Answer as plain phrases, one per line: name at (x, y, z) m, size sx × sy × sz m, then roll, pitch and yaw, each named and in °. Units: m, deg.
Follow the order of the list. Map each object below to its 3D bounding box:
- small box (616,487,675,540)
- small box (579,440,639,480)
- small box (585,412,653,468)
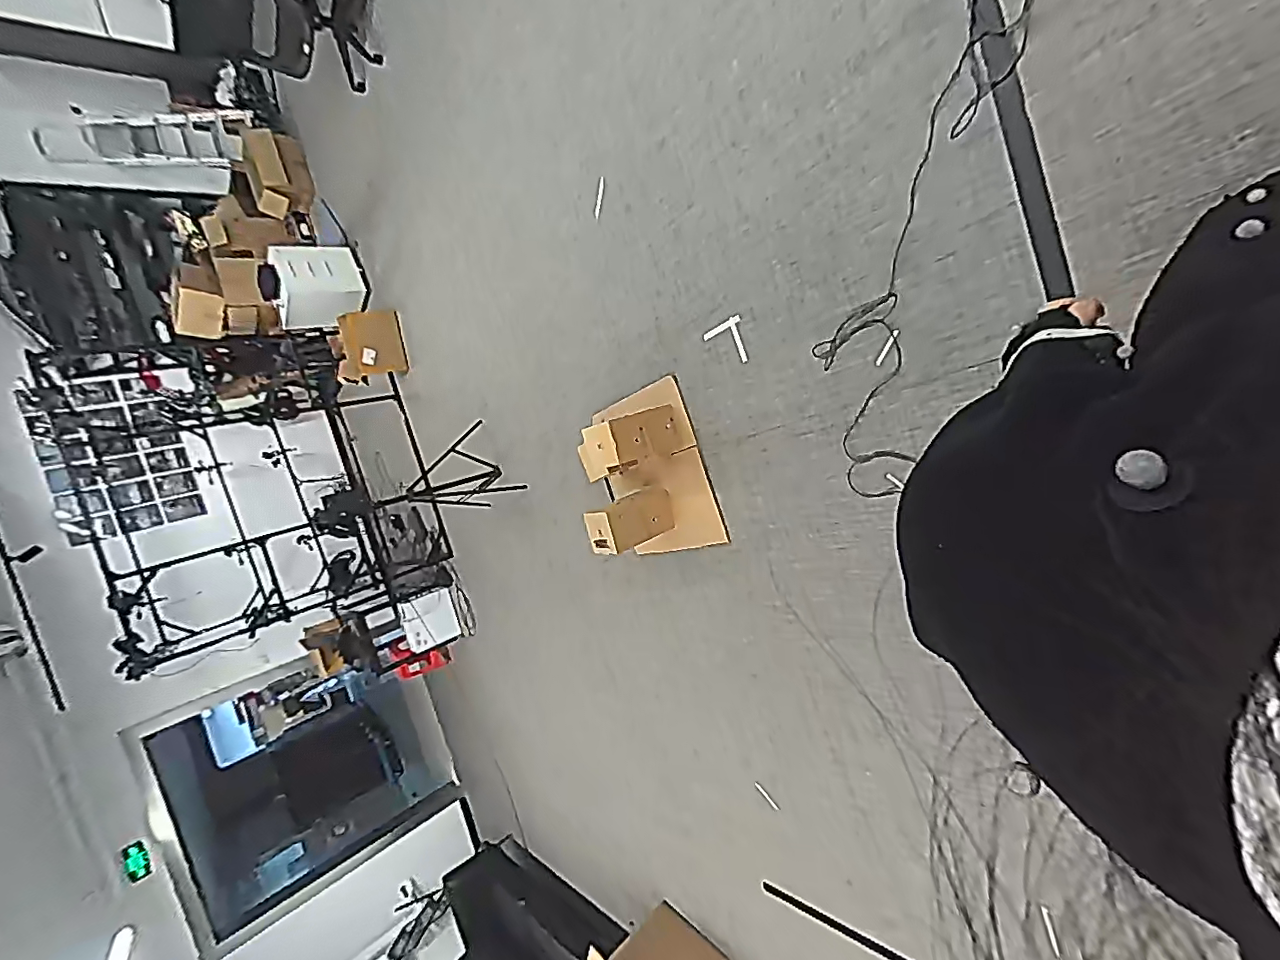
small box at (0.028, 0.140, 2.308) m, size 0.168 × 0.176 × 0.179 m, roll -2°, pitch 105°, yaw 50°
small box at (-0.135, -0.117, 2.399) m, size 0.168 × 0.176 × 0.179 m, roll -23°, pitch 88°, yaw 52°
small box at (-0.079, -0.152, 2.053) m, size 0.179 × 0.176 × 0.168 m, roll -11°, pitch 97°, yaw 50°
